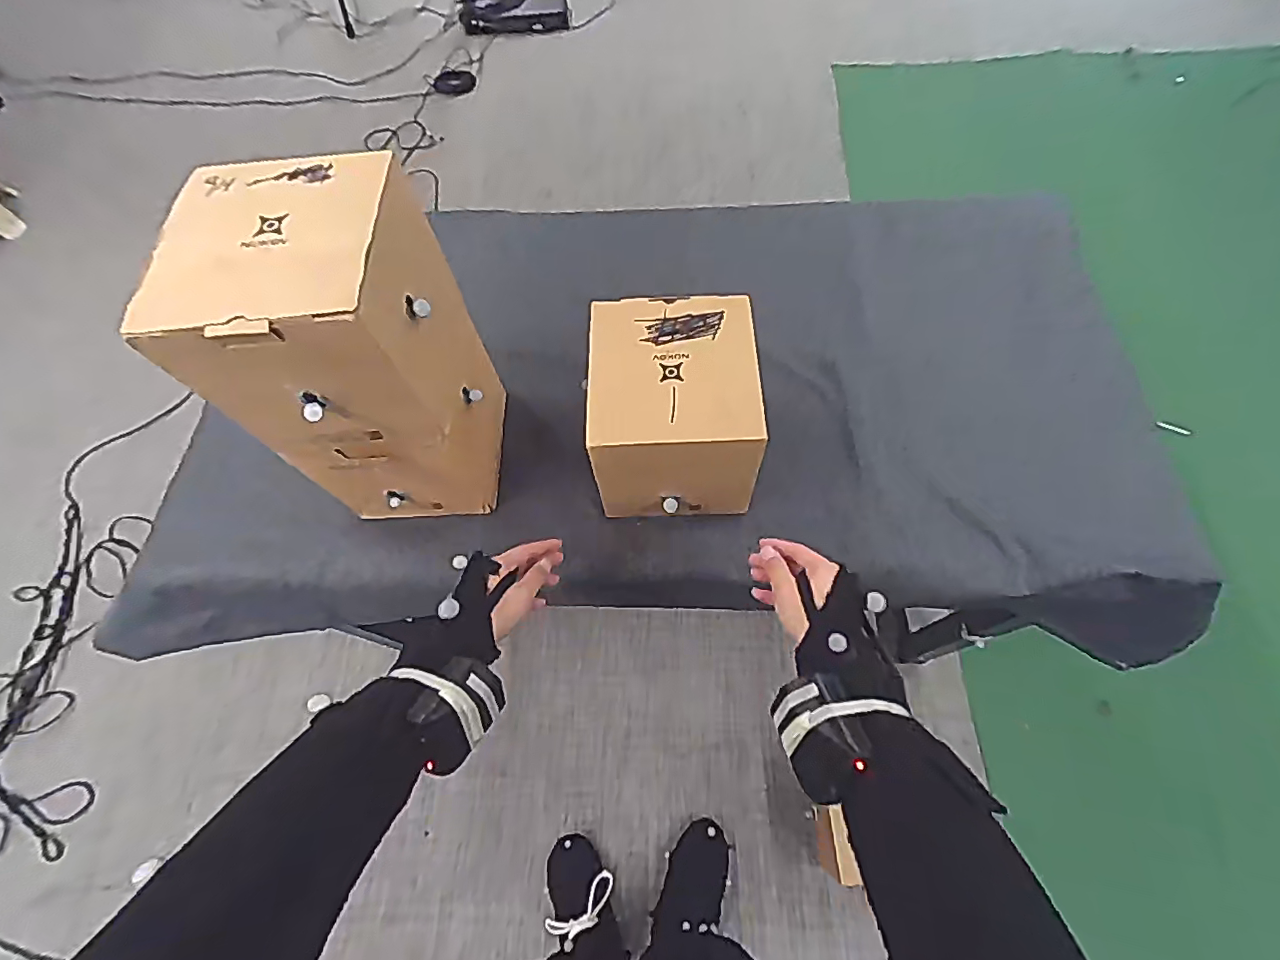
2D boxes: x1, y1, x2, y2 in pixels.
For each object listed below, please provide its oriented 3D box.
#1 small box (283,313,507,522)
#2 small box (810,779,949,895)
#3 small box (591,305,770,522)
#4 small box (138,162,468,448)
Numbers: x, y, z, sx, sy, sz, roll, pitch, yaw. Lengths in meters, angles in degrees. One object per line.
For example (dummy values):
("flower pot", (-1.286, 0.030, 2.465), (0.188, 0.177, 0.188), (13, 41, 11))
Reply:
("small box", (-0.258, -0.065, 0.621), (0.168, 0.176, 0.179), (-3, 63, 2))
("small box", (0.436, 0.661, 1.016), (0.179, 0.176, 0.168), (-4, 62, 3))
("small box", (0.041, -0.067, 0.597), (0.168, 0.176, 0.179), (-2, 62, 3))
("small box", (-0.262, -0.138, 0.474), (0.168, 0.176, 0.179), (-4, 64, 1))
